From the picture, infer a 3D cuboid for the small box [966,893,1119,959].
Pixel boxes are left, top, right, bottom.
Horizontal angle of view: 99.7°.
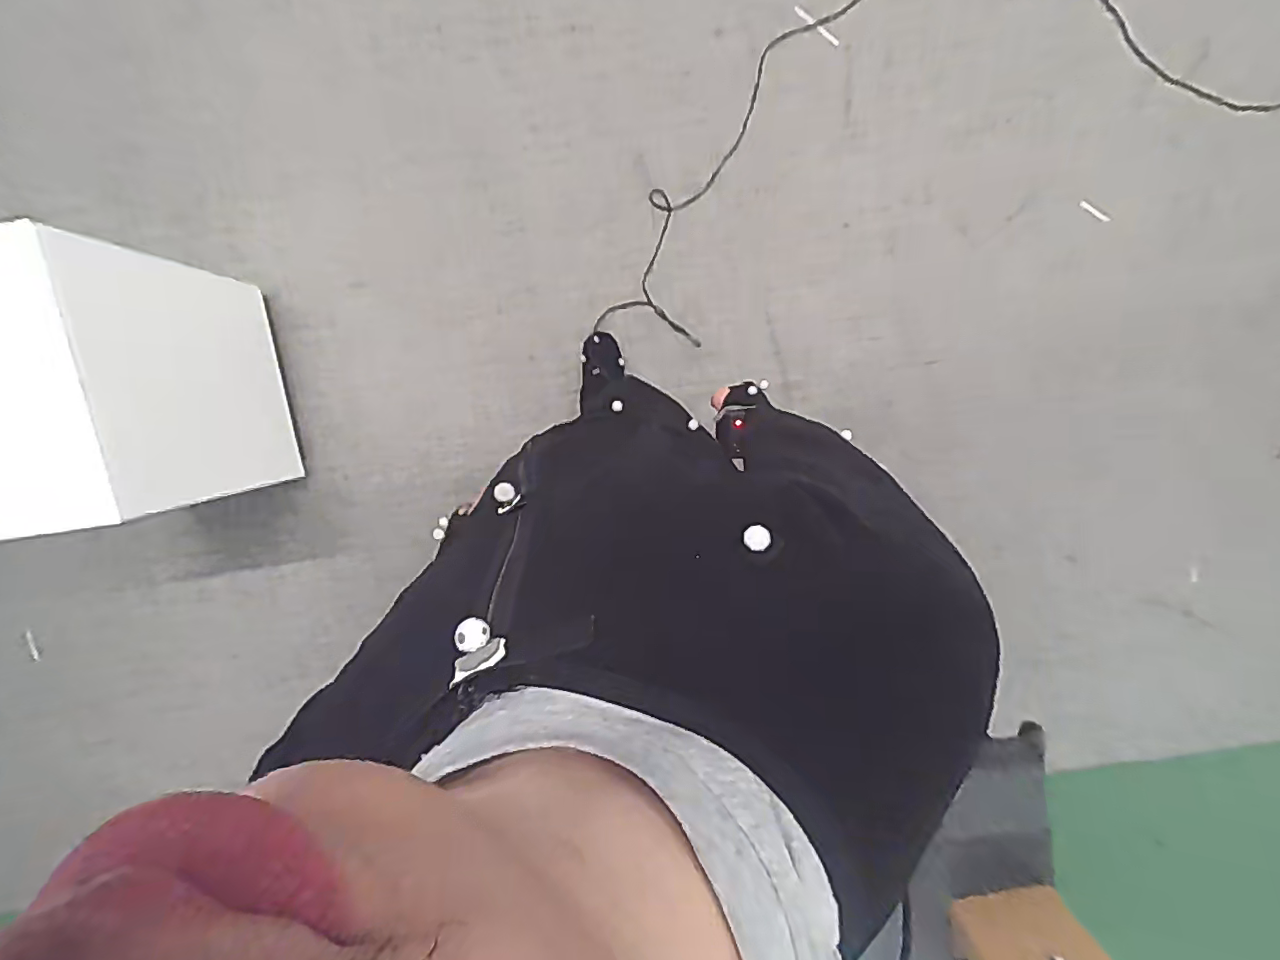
[{"bbox_3d":[0.661,0.807,0.860,0.179,0.176,0.168,-13,98,0],"label":"small box"}]
